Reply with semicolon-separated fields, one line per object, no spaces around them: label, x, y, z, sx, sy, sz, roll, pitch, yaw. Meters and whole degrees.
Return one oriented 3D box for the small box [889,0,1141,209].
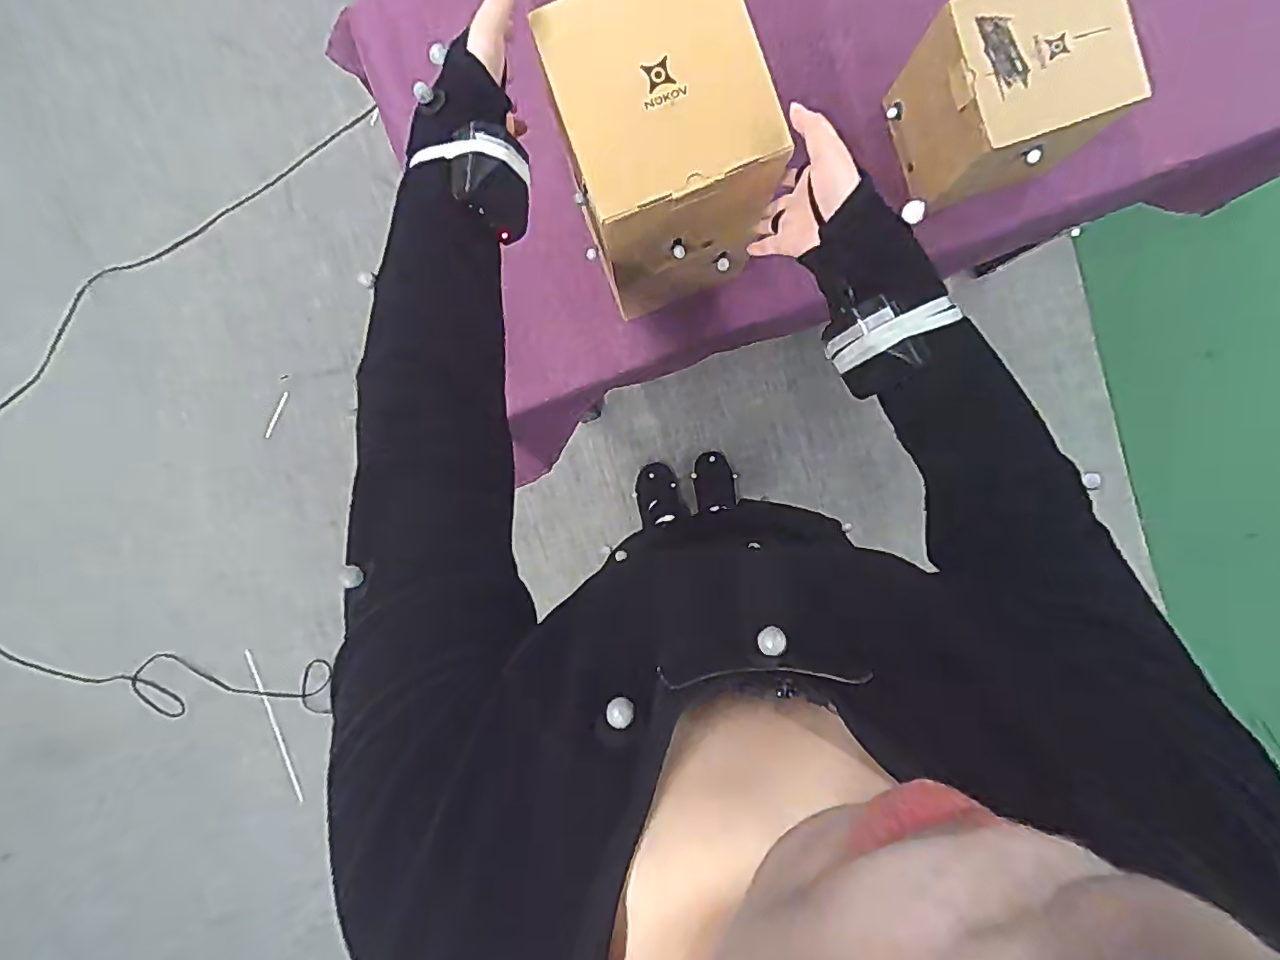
small box;0.425;-0.459;0.650;0.179;0.176;0.168;-18;93;3

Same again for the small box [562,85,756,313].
small box;0.023;-0.330;0.672;0.179;0.176;0.168;-20;92;3
